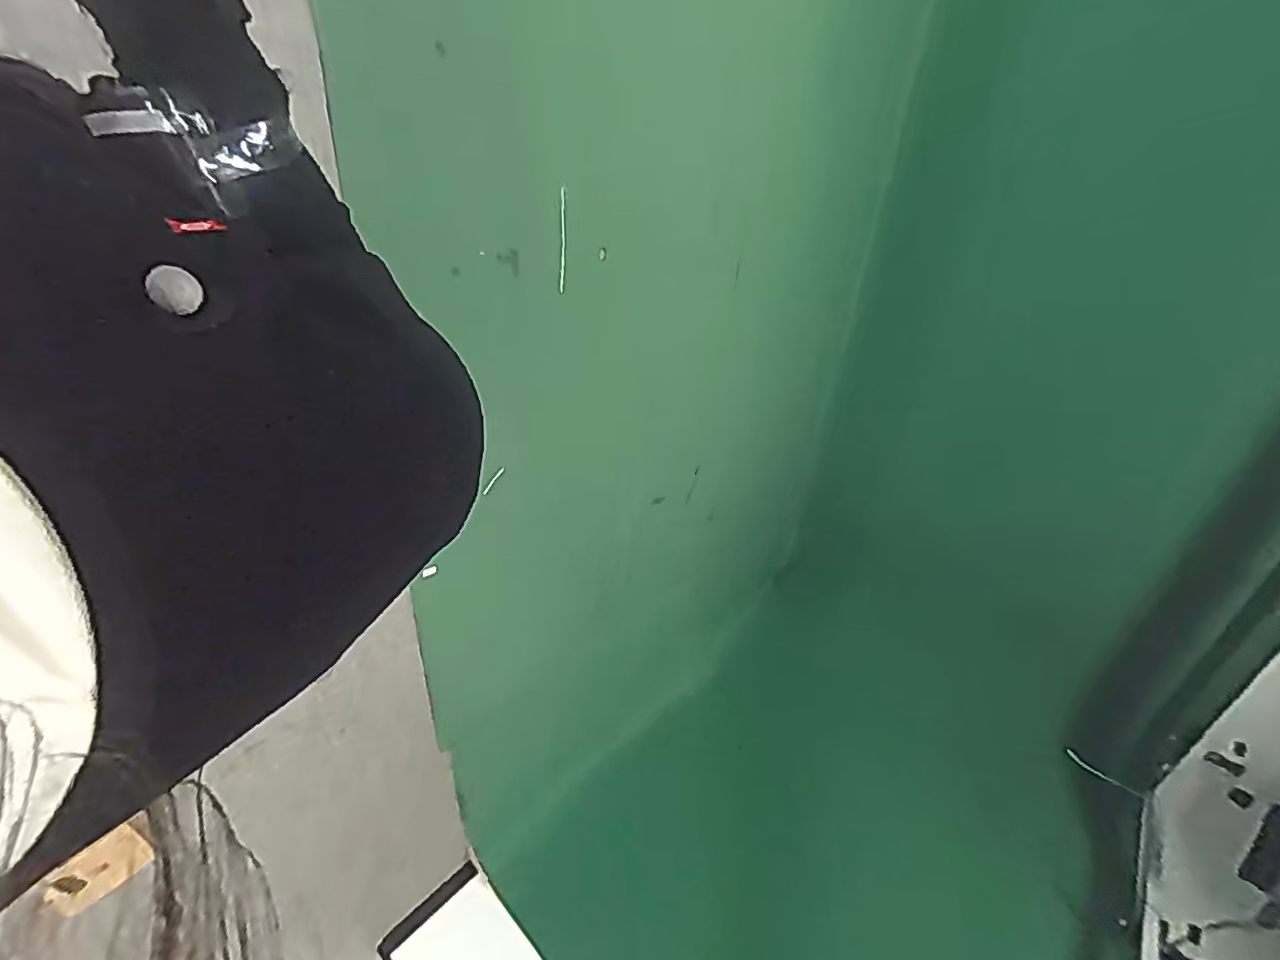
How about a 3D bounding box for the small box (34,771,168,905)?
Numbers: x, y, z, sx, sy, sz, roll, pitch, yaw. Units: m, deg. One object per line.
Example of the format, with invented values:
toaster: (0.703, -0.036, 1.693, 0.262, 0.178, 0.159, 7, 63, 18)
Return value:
small box: (-1.303, 0.859, 1.309, 0.179, 0.176, 0.168, -33, 136, -35)
